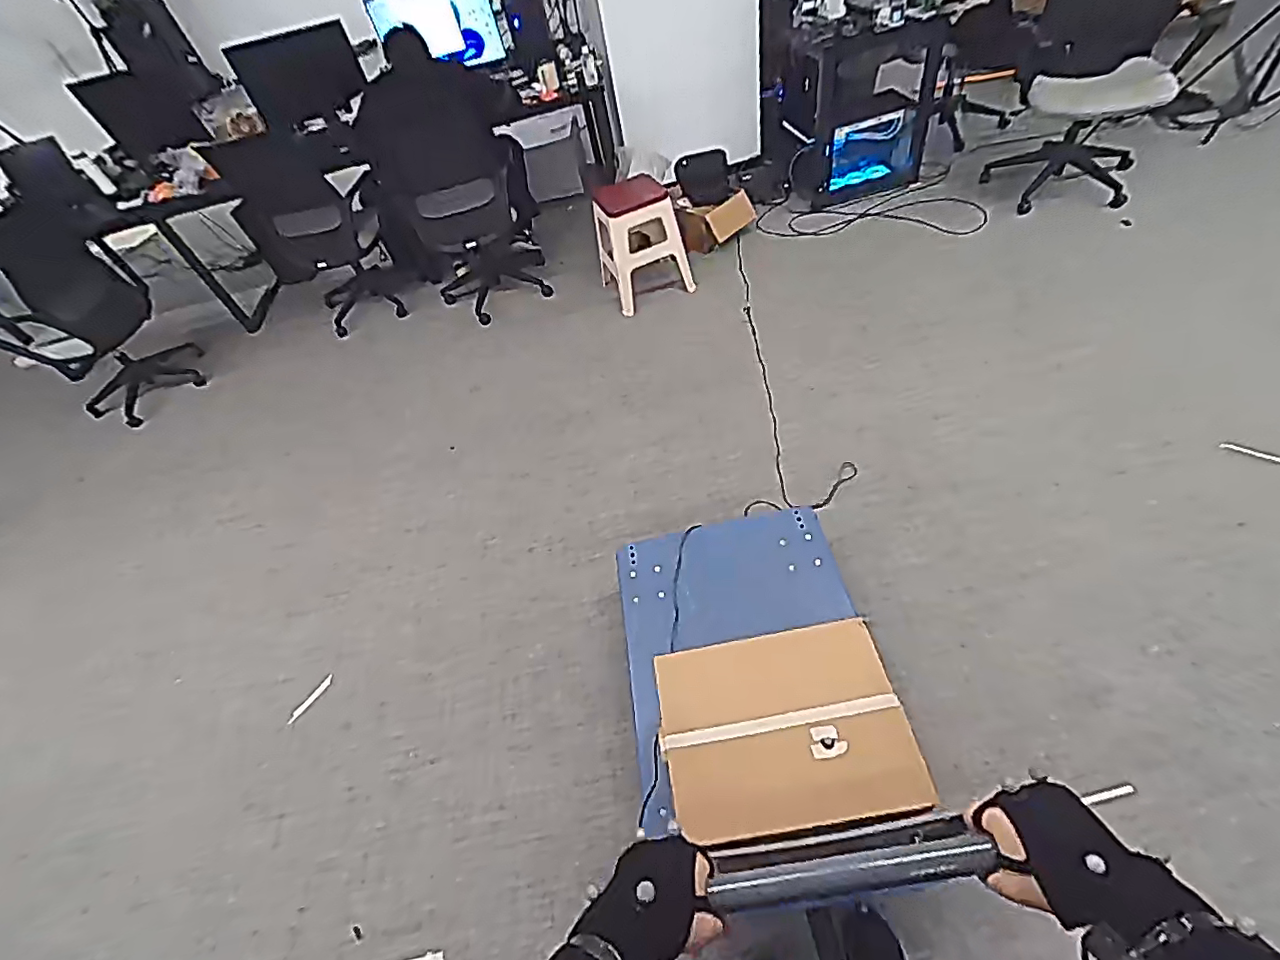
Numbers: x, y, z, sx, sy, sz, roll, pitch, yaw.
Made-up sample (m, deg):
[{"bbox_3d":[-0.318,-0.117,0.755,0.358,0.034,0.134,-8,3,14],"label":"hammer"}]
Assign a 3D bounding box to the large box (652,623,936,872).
[{"bbox_3d":[0.259,0.517,1.029,0.408,0.320,0.320,-12,51,3],"label":"large box"}]
